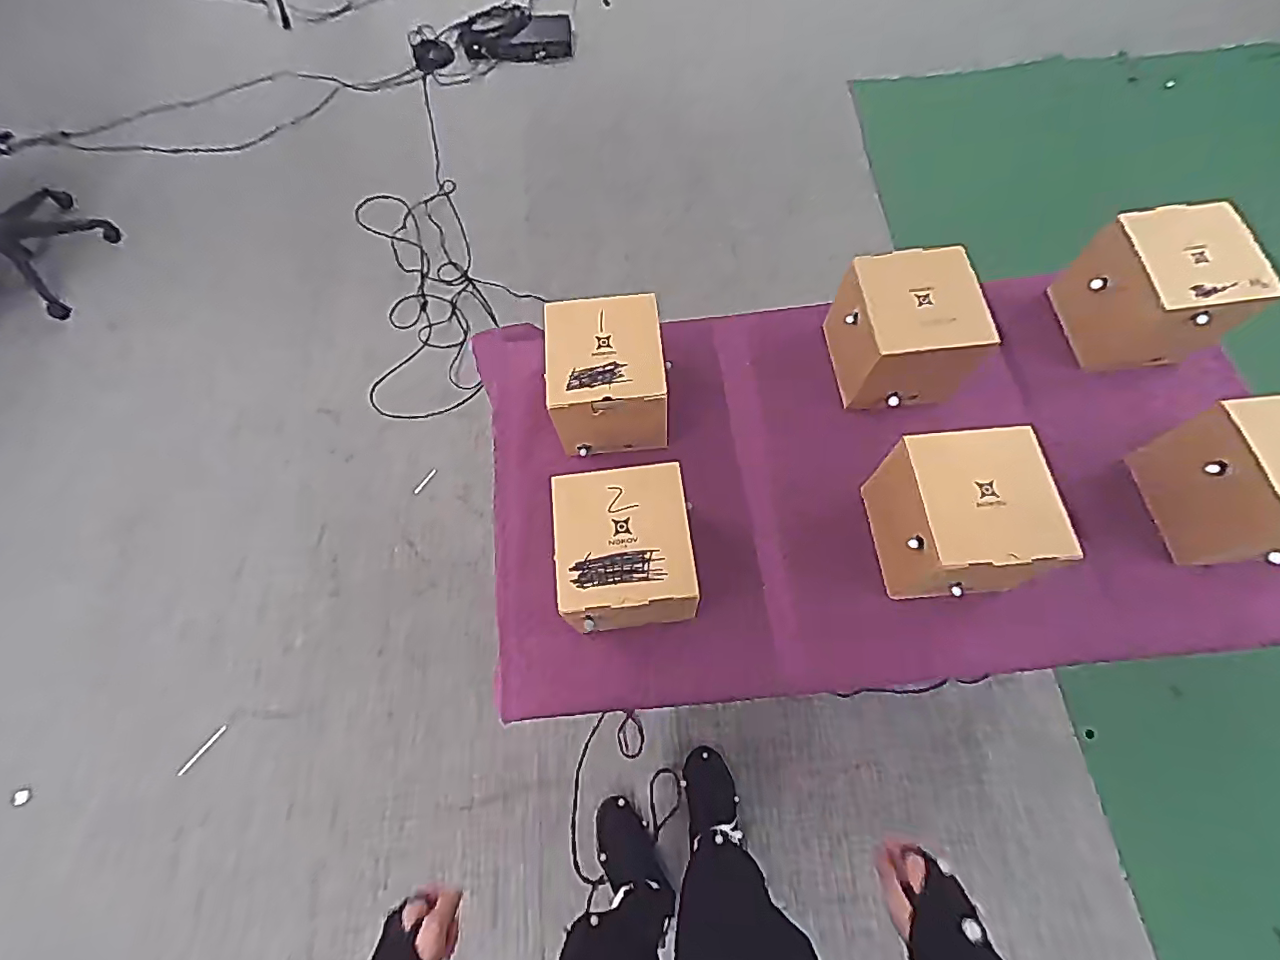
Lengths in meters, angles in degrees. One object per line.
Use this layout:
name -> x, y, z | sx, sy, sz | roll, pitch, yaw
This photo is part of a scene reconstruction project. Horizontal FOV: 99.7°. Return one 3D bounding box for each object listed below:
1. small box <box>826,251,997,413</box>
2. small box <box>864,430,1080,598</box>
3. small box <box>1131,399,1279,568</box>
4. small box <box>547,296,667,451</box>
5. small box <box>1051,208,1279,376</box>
small box -> 0.406, -0.225, 0.846 | 0.168, 0.176, 0.179 | -5, 69, 1
small box -> 0.424, 0.052, 0.729 | 0.168, 0.176, 0.179 | -4, 67, 0
small box -> 0.826, 0.007, 0.724 | 0.168, 0.176, 0.179 | -5, 66, 2
small box -> -0.046, -0.153, 0.833 | 0.168, 0.176, 0.179 | -5, 68, 0
small box -> 0.799, -0.288, 0.848 | 0.168, 0.176, 0.179 | -6, 69, 2
